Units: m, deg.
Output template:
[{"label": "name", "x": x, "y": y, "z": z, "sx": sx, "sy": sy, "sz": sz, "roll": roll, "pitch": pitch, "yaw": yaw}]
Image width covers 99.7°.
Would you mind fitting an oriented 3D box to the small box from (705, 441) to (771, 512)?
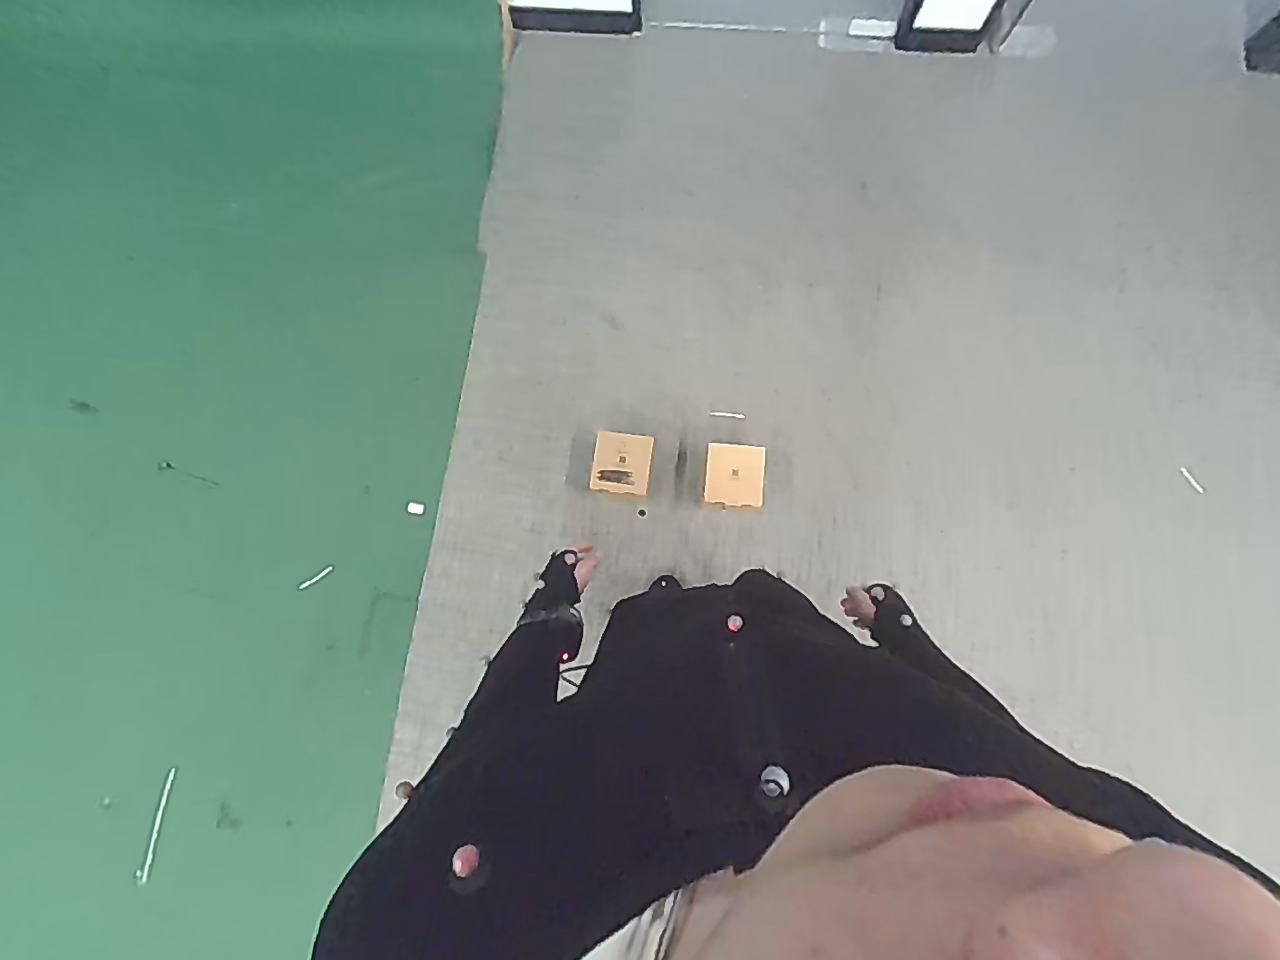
[{"label": "small box", "x": 0.287, "y": -0.006, "z": 1.609, "sx": 0.168, "sy": 0.176, "sz": 0.179, "roll": 6, "pitch": 81, "yaw": 4}]
